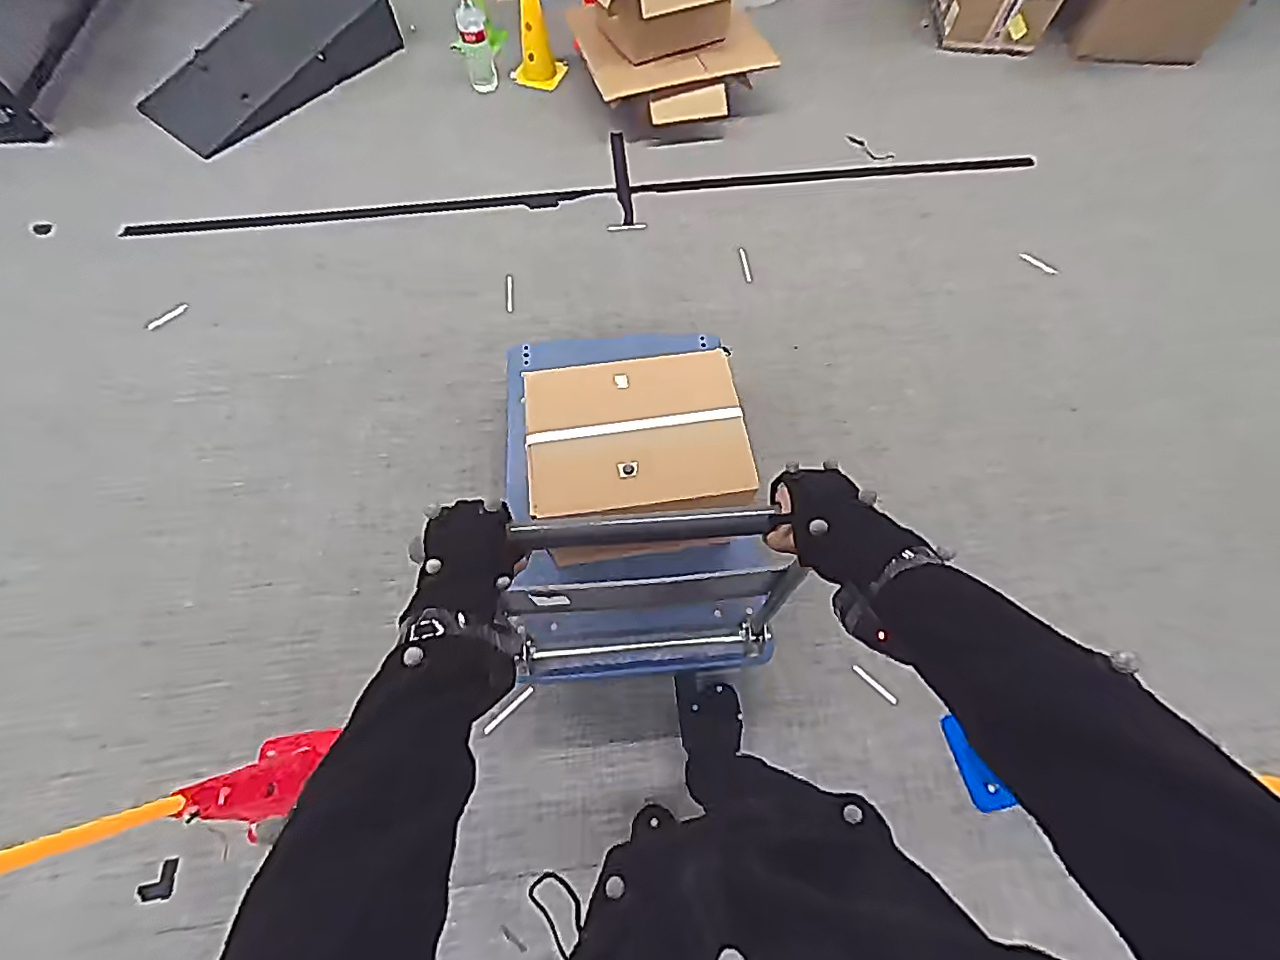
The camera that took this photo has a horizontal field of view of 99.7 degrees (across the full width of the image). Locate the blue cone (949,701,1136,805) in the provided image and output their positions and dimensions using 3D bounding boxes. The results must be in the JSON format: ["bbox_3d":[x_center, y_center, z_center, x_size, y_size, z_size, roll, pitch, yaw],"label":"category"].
[{"bbox_3d":[0.814,0.540,1.066,0.193,0.380,0.192,-9,64,-5],"label":"blue cone"}]
